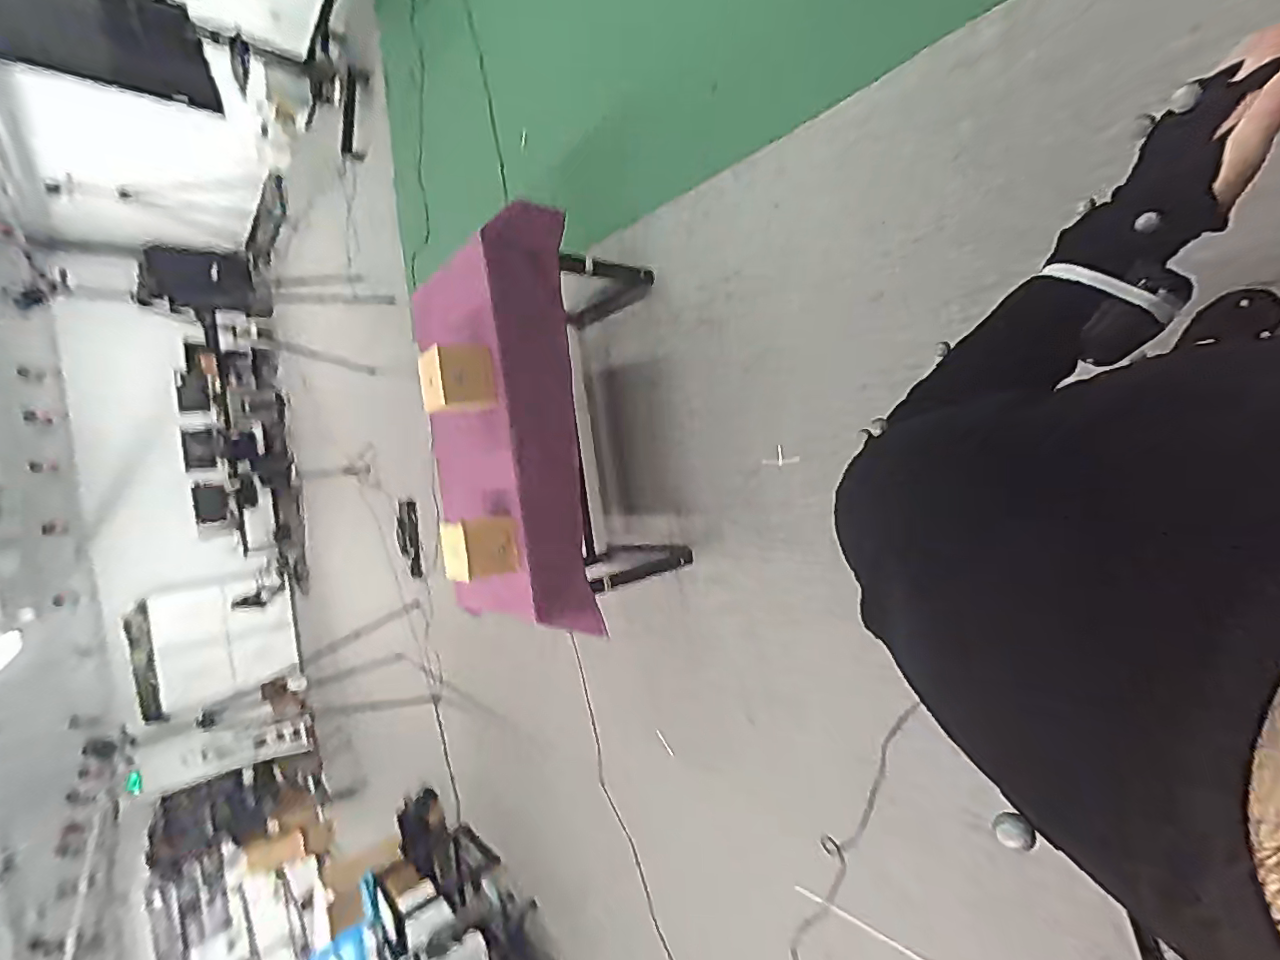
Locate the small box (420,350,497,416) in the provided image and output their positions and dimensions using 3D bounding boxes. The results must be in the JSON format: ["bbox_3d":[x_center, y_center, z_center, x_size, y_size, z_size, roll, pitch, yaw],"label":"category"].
[{"bbox_3d":[-0.556,-0.297,1.667,0.168,0.176,0.179,-5,93,48],"label":"small box"}]

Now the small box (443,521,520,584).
[{"bbox_3d":[-0.493,0.221,1.684,0.179,0.176,0.168,-5,92,48],"label":"small box"}]
